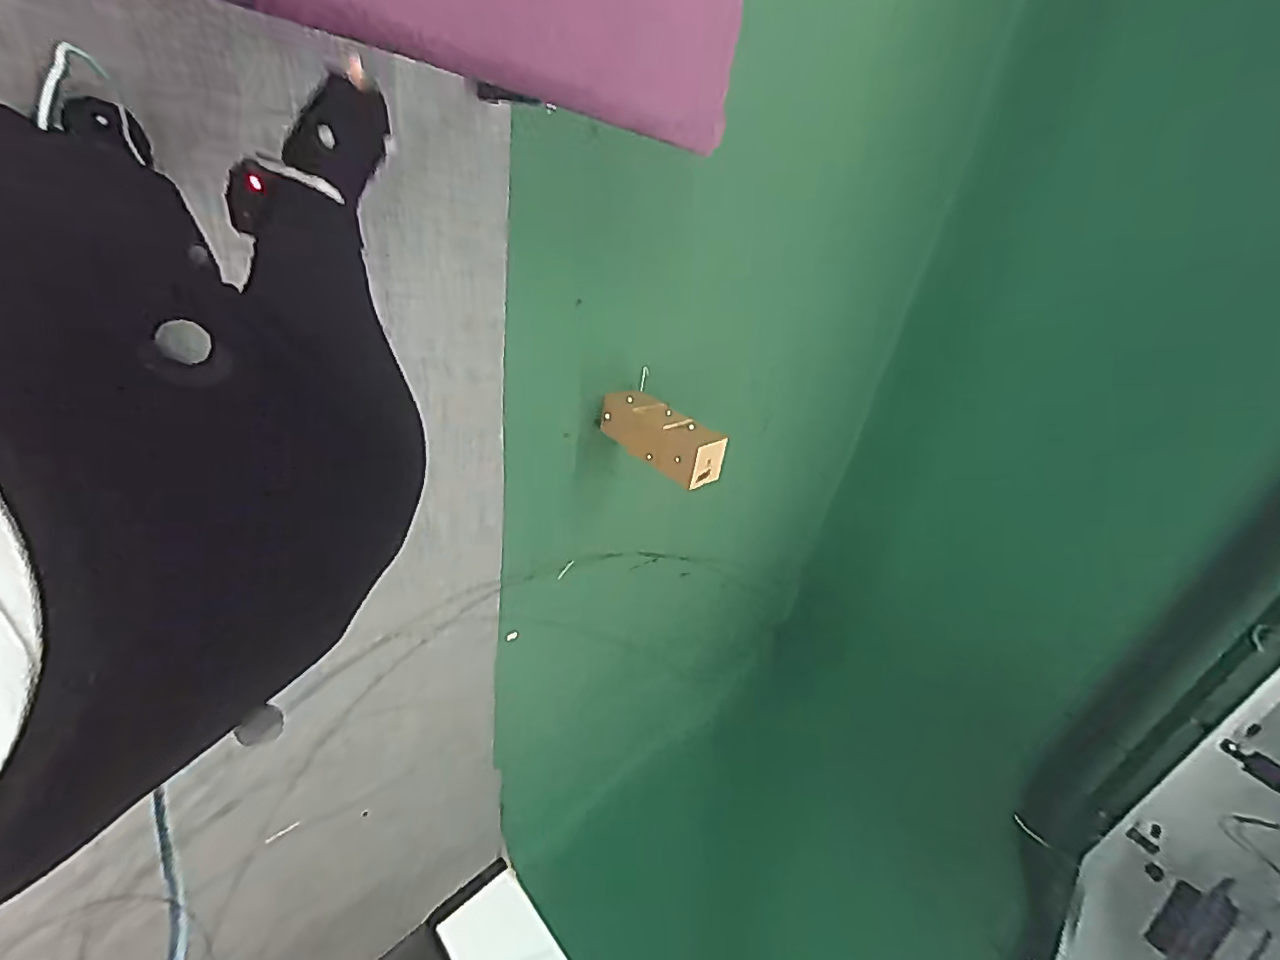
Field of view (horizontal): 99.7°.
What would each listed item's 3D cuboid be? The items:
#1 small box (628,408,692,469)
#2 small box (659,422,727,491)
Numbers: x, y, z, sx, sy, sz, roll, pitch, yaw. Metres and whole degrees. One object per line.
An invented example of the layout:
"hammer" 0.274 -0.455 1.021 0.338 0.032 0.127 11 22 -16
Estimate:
"small box" 0.072 -0.167 2.065 0.168 0.176 0.179 -18 130 -40
"small box" 0.190 -0.090 1.978 0.168 0.176 0.179 -20 130 -40
